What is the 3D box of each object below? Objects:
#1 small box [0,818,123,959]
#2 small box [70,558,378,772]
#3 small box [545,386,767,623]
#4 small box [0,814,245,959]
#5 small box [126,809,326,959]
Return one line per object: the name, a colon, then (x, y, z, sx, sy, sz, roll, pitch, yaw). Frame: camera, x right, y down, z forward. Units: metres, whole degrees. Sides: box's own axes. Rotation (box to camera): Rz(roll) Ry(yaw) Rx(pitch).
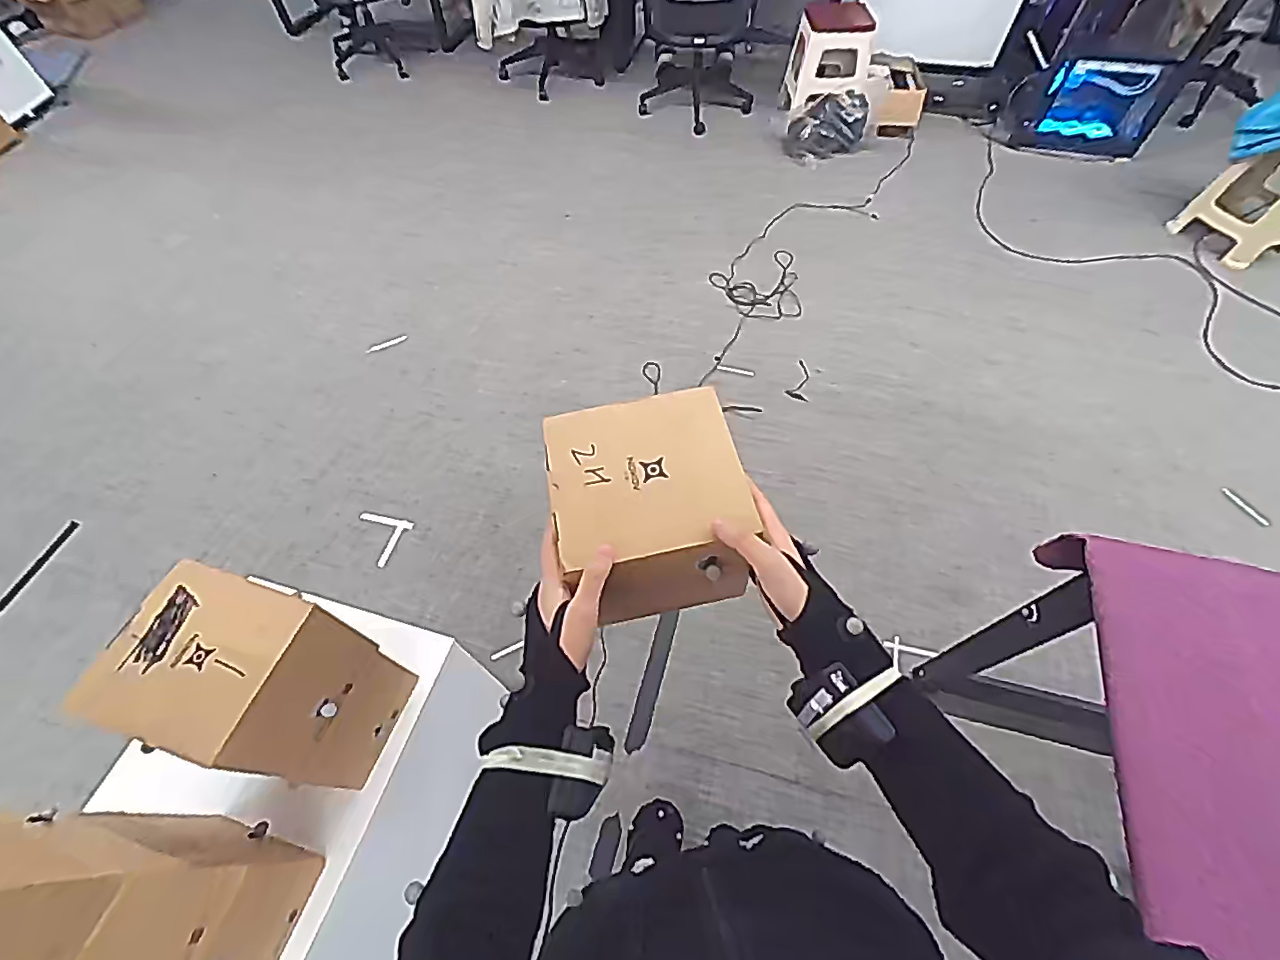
small box: (-0.525, 0.328, 0.352, 0.179, 0.176, 0.168, 12, 60, 9)
small box: (-0.442, 0.215, 0.611, 0.179, 0.176, 0.168, 16, 60, 10)
small box: (0.012, 0.032, 0.553, 0.179, 0.176, 0.168, -12, 59, -2)
small box: (-0.520, 0.417, 0.488, 0.179, 0.176, 0.168, 12, 59, 9)
small box: (-0.518, 0.504, 0.625, 0.179, 0.176, 0.168, 13, 60, 11)
